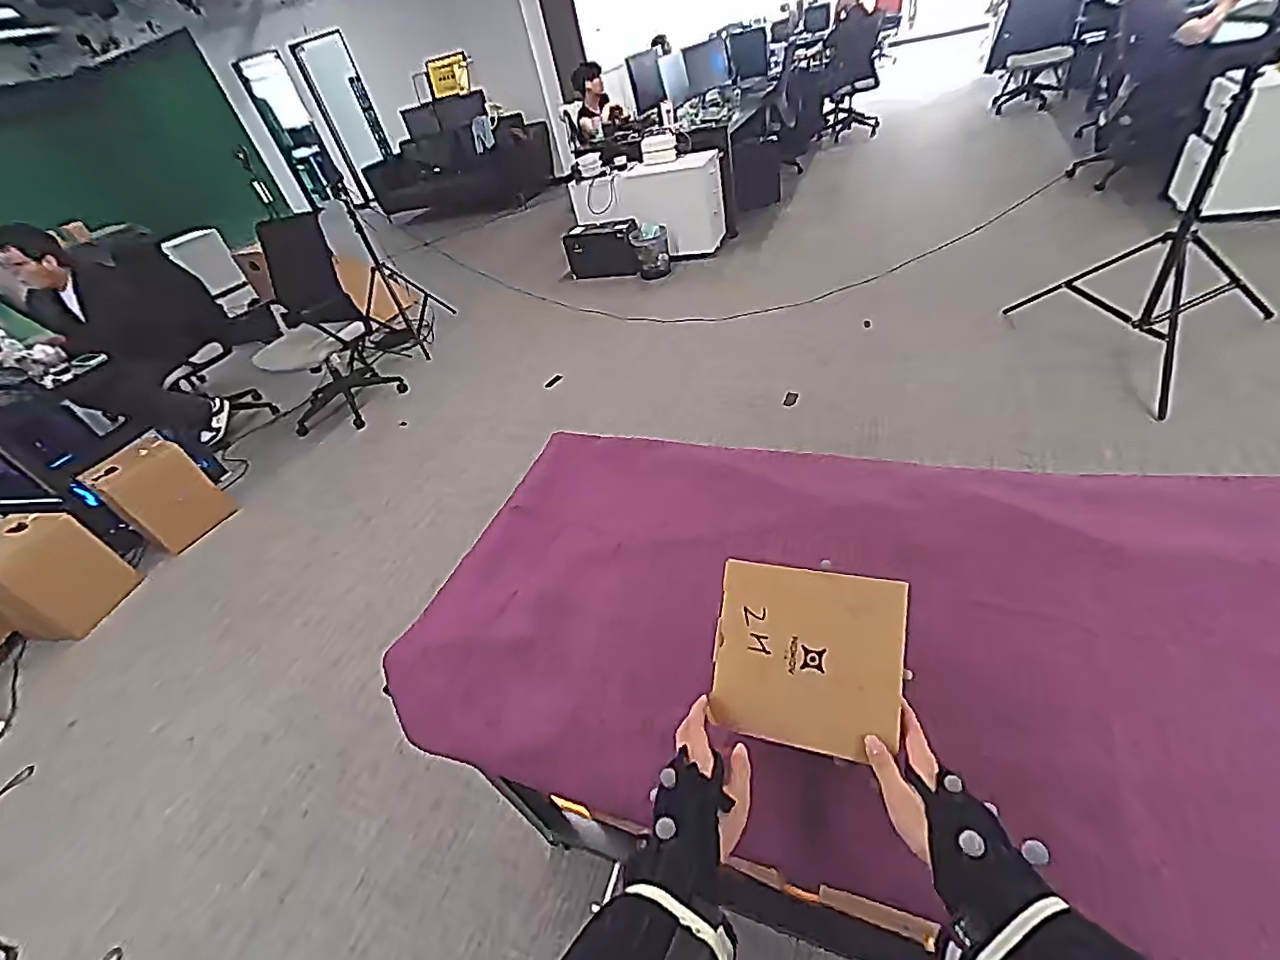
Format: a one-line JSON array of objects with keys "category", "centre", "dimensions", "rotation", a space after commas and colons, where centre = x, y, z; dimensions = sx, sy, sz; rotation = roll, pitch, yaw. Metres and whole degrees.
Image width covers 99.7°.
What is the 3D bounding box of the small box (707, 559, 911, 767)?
[{"category": "small box", "centre": [0.186, 0.185, 0.590], "dimensions": [0.179, 0.176, 0.168], "rotation": [5, 78, 22]}]
